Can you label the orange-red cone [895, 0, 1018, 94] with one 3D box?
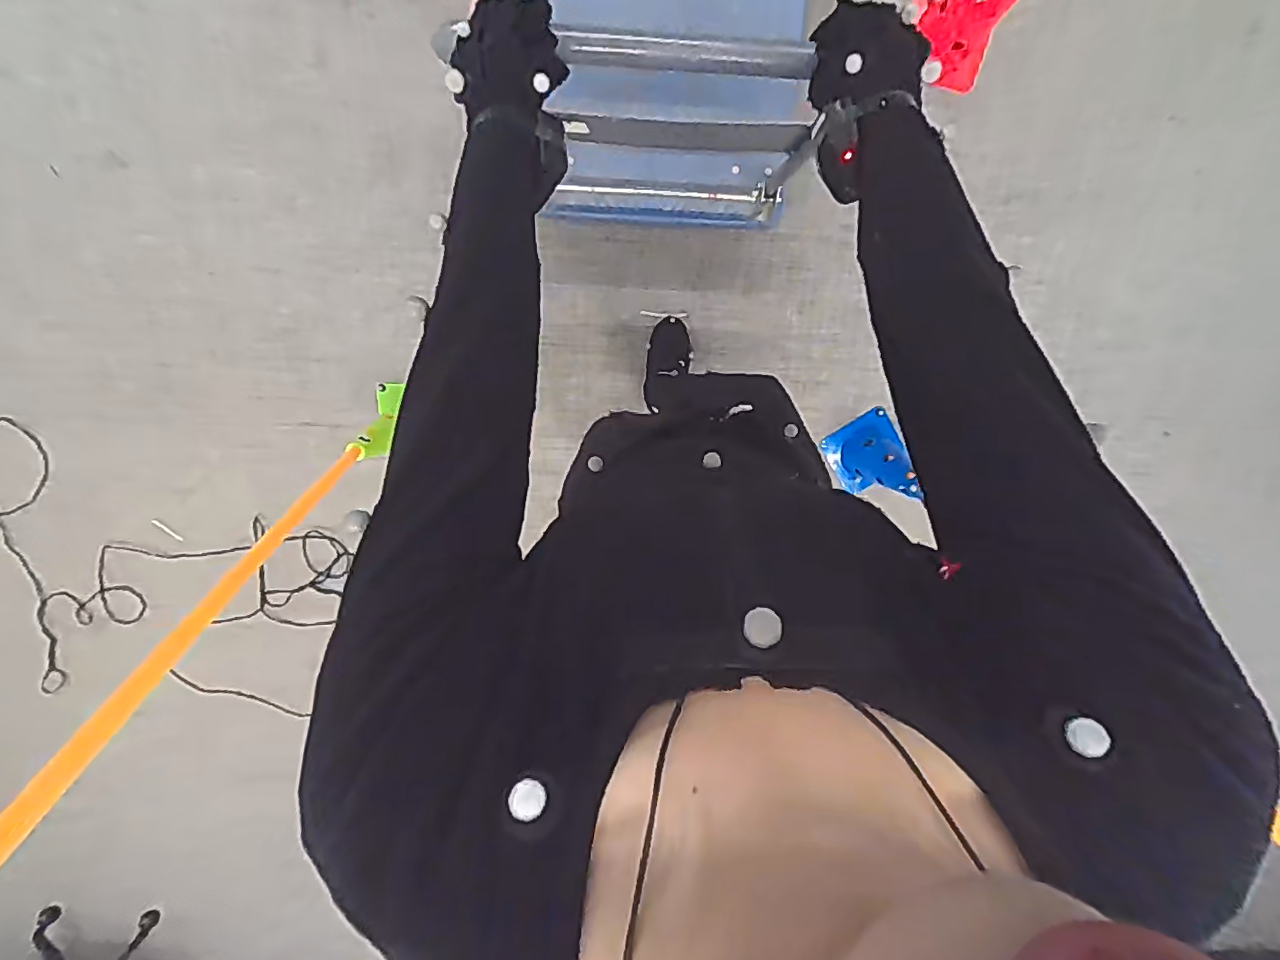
[{"bbox_3d":[0.694,-0.949,1.056,0.198,0.360,0.199,14,108,-4],"label":"orange-red cone"}]
